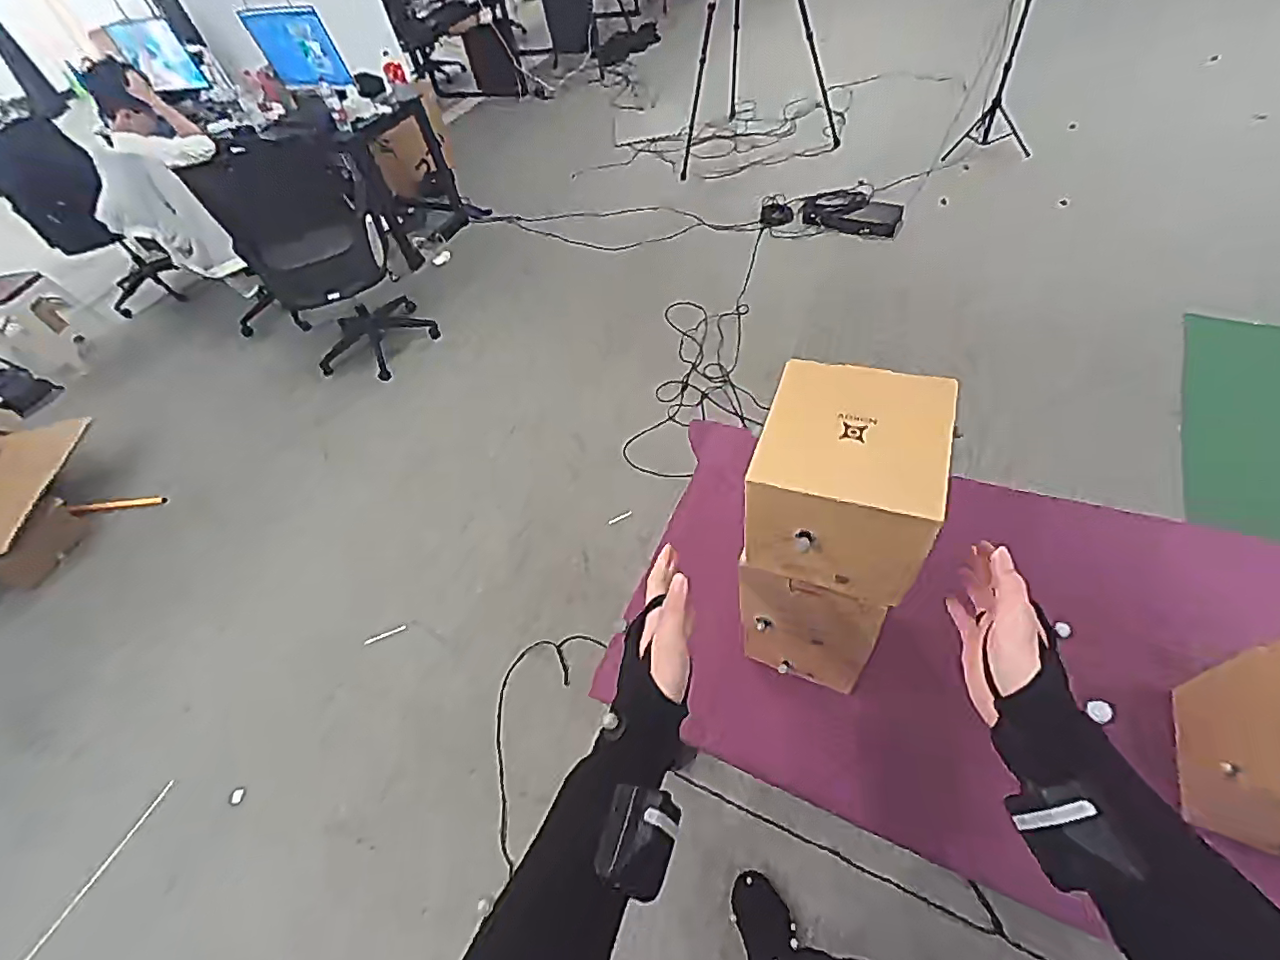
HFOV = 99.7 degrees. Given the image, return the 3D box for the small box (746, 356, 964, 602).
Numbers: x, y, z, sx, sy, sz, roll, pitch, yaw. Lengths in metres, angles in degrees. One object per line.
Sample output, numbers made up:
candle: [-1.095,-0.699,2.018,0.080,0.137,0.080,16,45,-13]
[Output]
small box: [0.214,0.000,0.558,0.168,0.176,0.179,13,55,21]

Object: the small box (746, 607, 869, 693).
small box: [0.263,0.190,0.818,0.168,0.176,0.179,16,57,22]

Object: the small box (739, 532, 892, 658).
small box: [0.234,0.098,0.686,0.168,0.176,0.179,16,56,22]
